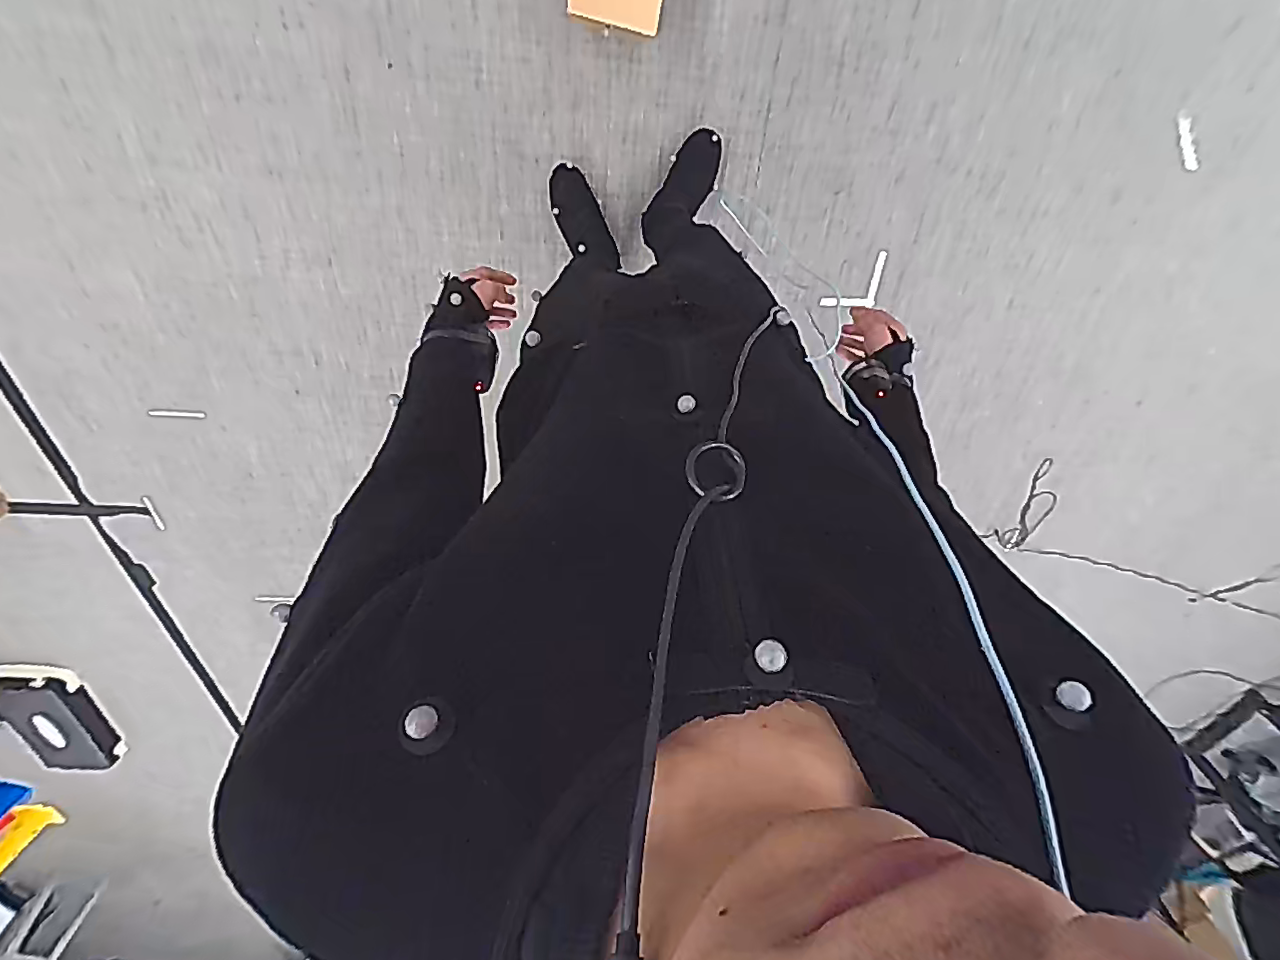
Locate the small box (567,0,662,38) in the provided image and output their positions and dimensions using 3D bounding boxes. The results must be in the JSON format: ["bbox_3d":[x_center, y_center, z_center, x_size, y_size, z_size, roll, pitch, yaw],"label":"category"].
[{"bbox_3d":[-0.042,-0.989,1.057,0.179,0.176,0.168,8,125,-9],"label":"small box"}]
